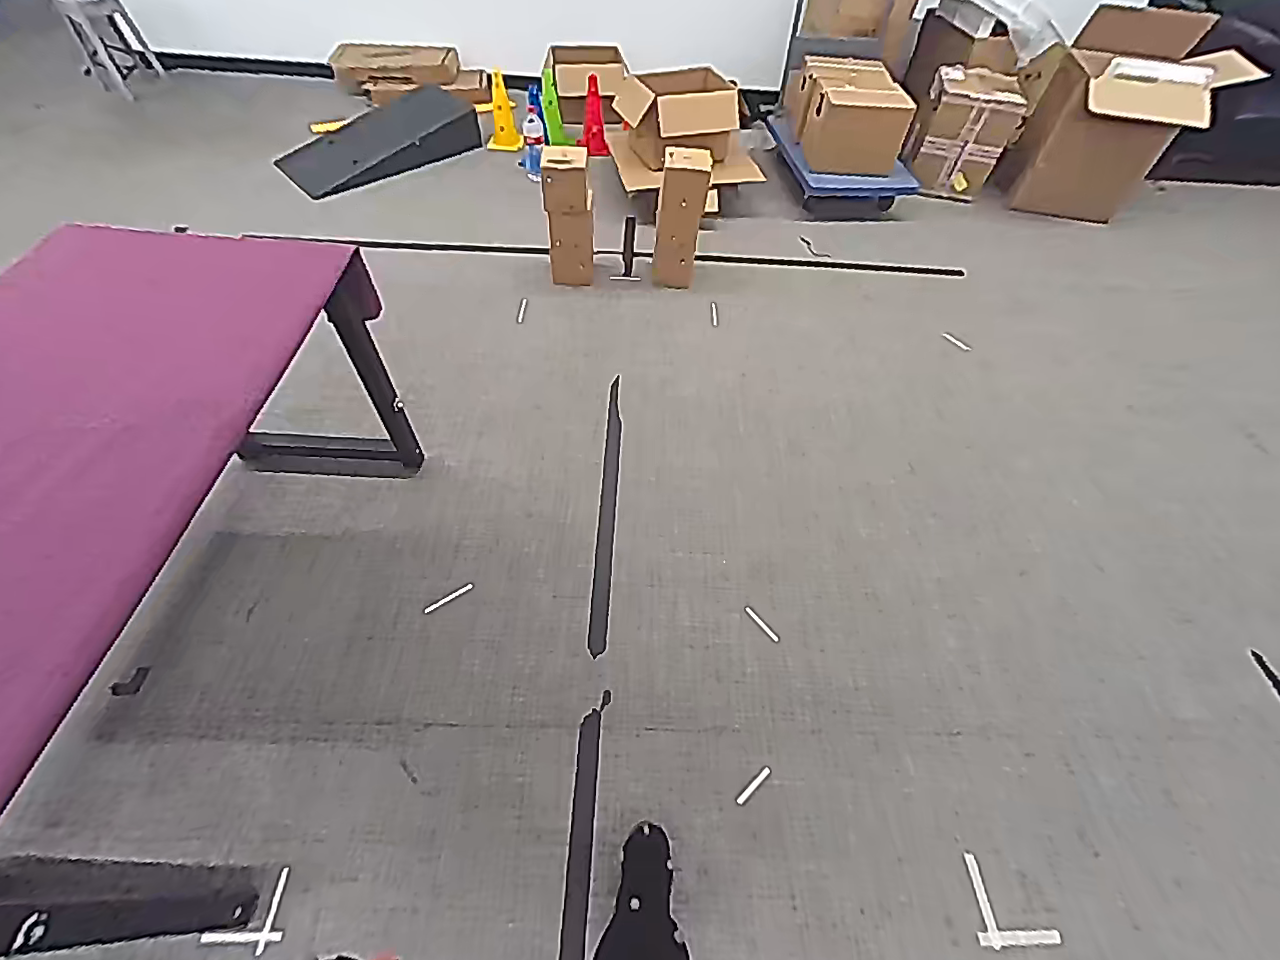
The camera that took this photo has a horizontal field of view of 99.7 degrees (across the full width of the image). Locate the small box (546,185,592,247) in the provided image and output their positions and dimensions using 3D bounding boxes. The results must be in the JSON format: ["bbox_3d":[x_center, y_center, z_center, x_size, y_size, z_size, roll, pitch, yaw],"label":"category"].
[{"bbox_3d":[-0.282,-1.066,2.190,0.168,0.176,0.179,3,53,-2],"label":"small box"}]

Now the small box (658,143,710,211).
[{"bbox_3d":[0.170,-1.169,2.092,0.179,0.176,0.168,5,55,-2],"label":"small box"}]

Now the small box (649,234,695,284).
[{"bbox_3d":[0.140,-0.976,2.354,0.179,0.176,0.168,6,54,0],"label":"small box"}]

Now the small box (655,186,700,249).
[{"bbox_3d":[0.149,-1.081,2.230,0.168,0.176,0.179,3,55,-3],"label":"small box"}]

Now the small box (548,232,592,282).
[{"bbox_3d":[-0.297,-0.970,2.322,0.179,0.176,0.168,0,53,-3],"label":"small box"}]
